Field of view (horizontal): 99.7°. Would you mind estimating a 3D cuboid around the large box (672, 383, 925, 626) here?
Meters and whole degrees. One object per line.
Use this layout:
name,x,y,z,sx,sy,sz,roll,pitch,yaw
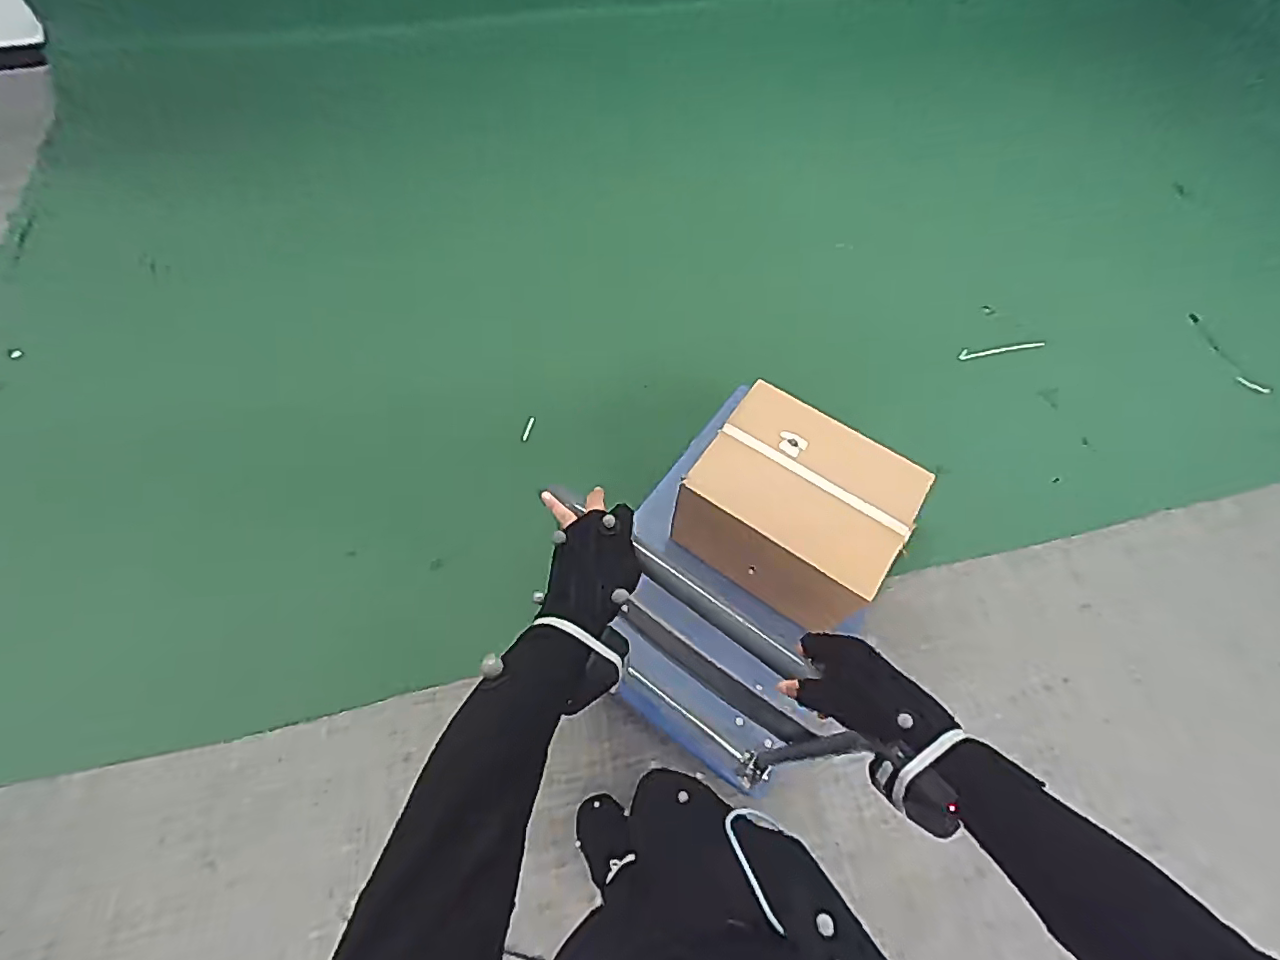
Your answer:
large box,0.324,0.065,1.202,0.408,0.320,0.320,32,66,15
